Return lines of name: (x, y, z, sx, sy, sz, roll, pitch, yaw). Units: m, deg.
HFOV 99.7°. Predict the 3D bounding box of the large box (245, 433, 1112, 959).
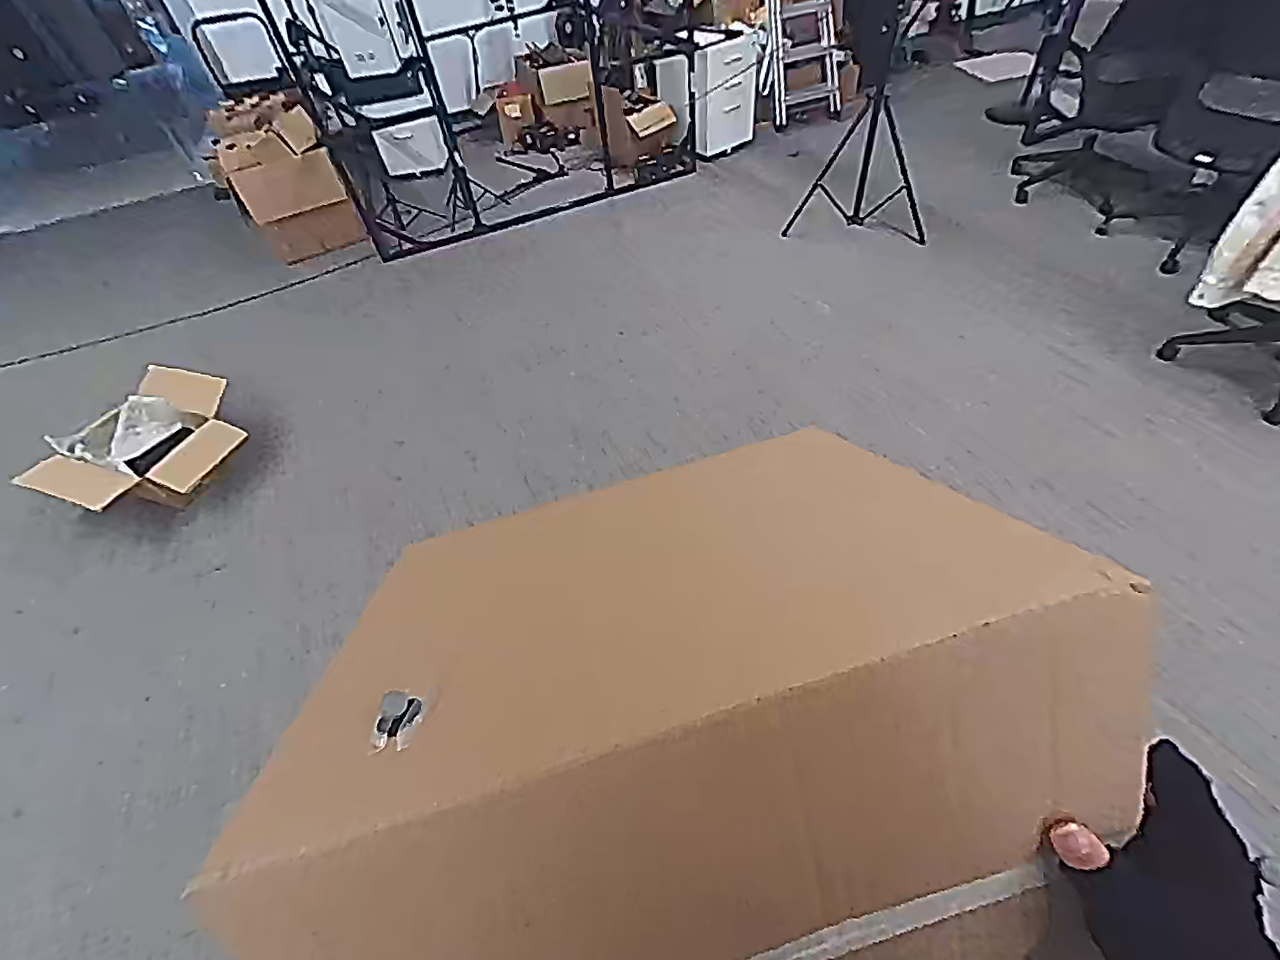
large box: (0.038, 0.189, 0.423, 0.408, 0.320, 0.320, -17, 20, -3)
